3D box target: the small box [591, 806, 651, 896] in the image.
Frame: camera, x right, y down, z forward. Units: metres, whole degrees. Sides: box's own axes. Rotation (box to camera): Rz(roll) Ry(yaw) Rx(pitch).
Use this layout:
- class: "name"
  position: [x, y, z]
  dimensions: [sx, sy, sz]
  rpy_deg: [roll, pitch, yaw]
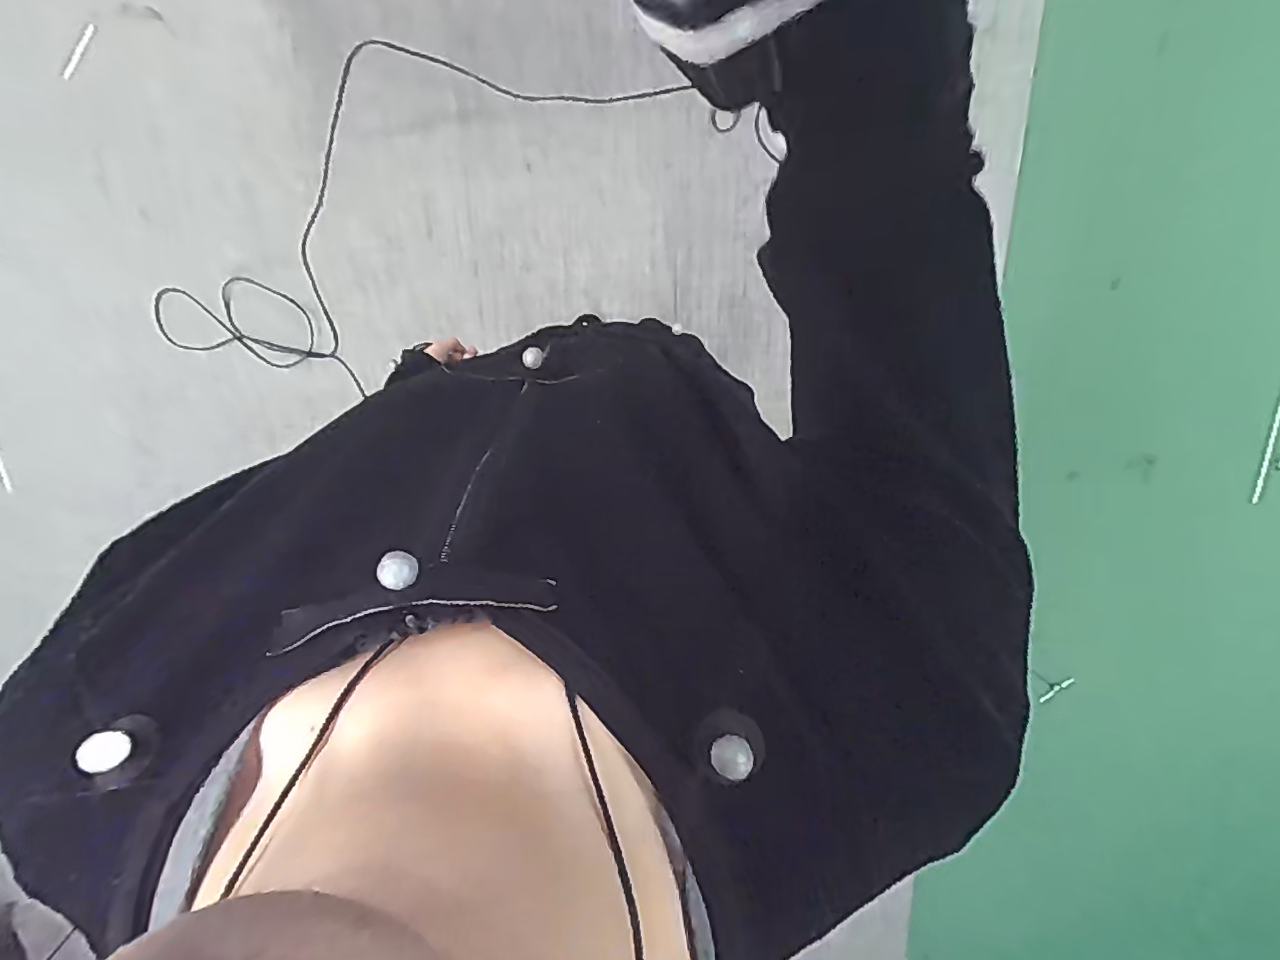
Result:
- class: "small box"
  position: [-0.059, 1.147, 1.680]
  dimensions: [0.179, 0.176, 0.168]
  rpy_deg: [-1, 104, -1]

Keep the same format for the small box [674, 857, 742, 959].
- class: "small box"
  position: [0.185, 1.211, 1.520]
  dimensions: [0.168, 0.176, 0.179]
  rpy_deg: [3, 104, 0]
